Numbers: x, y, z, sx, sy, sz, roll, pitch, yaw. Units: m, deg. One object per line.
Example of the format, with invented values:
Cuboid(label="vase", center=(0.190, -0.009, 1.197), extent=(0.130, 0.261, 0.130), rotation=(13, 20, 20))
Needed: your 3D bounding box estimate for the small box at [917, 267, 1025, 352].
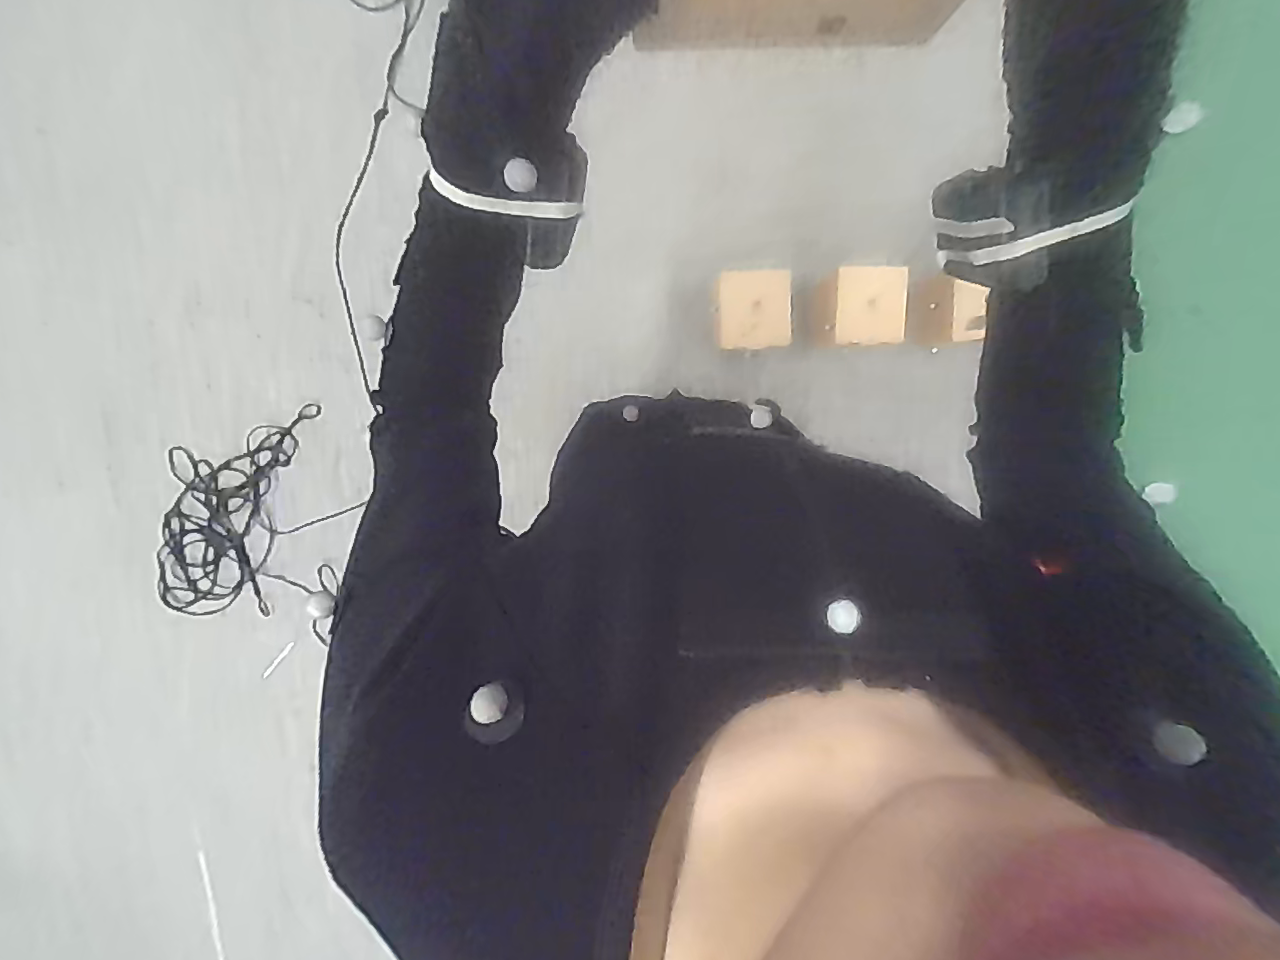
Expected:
Cuboid(label="small box", center=(0.805, -0.411, 1.329), extent=(0.168, 0.176, 0.179), rotation=(-3, 97, 0))

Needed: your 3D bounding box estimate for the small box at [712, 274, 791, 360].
Cuboid(label="small box", center=(0.268, -0.394, 1.328), extent=(0.168, 0.176, 0.179), rotation=(-2, 98, 2))

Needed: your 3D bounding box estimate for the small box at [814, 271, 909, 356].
Cuboid(label="small box", center=(0.536, -0.403, 1.330), extent=(0.168, 0.176, 0.179), rotation=(0, 98, 0))
